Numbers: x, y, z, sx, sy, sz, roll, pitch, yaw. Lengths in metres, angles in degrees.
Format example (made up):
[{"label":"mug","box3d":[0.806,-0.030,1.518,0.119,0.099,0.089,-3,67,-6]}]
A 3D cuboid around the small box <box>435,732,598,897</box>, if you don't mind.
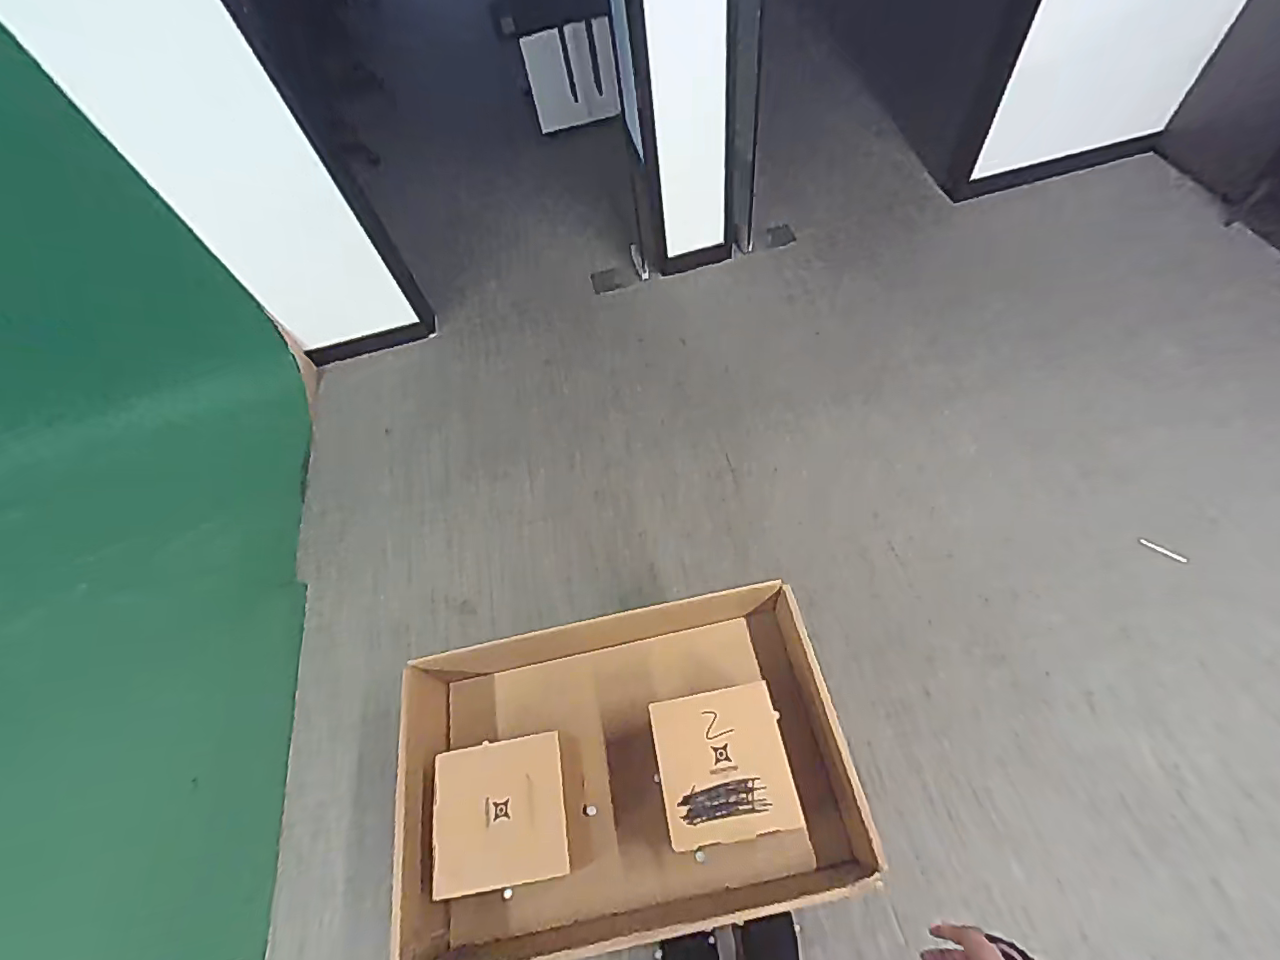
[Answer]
[{"label":"small box","box3d":[-0.168,0.469,0.768,0.179,0.176,0.168,-11,59,1]}]
